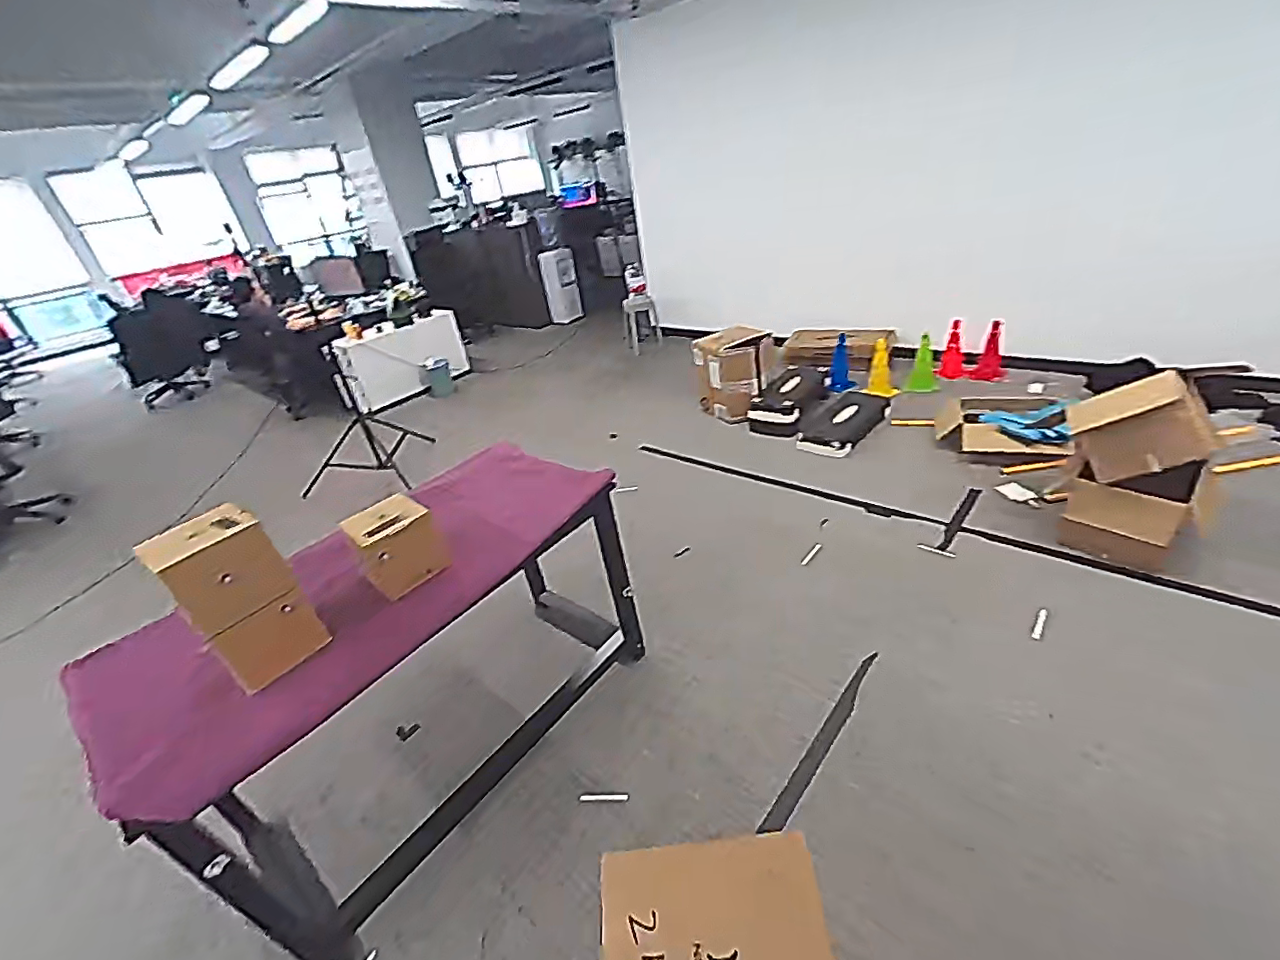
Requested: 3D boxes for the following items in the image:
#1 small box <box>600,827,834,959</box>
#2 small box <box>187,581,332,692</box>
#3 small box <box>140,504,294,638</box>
[{"bbox_3d":[0.072,0.414,0.450,0.179,0.176,0.168,-12,40,7],"label":"small box"},{"bbox_3d":[-0.810,0.317,1.162,0.168,0.176,0.179,15,38,36],"label":"small box"},{"bbox_3d":[-0.829,0.177,1.078,0.168,0.176,0.179,14,38,36],"label":"small box"}]
